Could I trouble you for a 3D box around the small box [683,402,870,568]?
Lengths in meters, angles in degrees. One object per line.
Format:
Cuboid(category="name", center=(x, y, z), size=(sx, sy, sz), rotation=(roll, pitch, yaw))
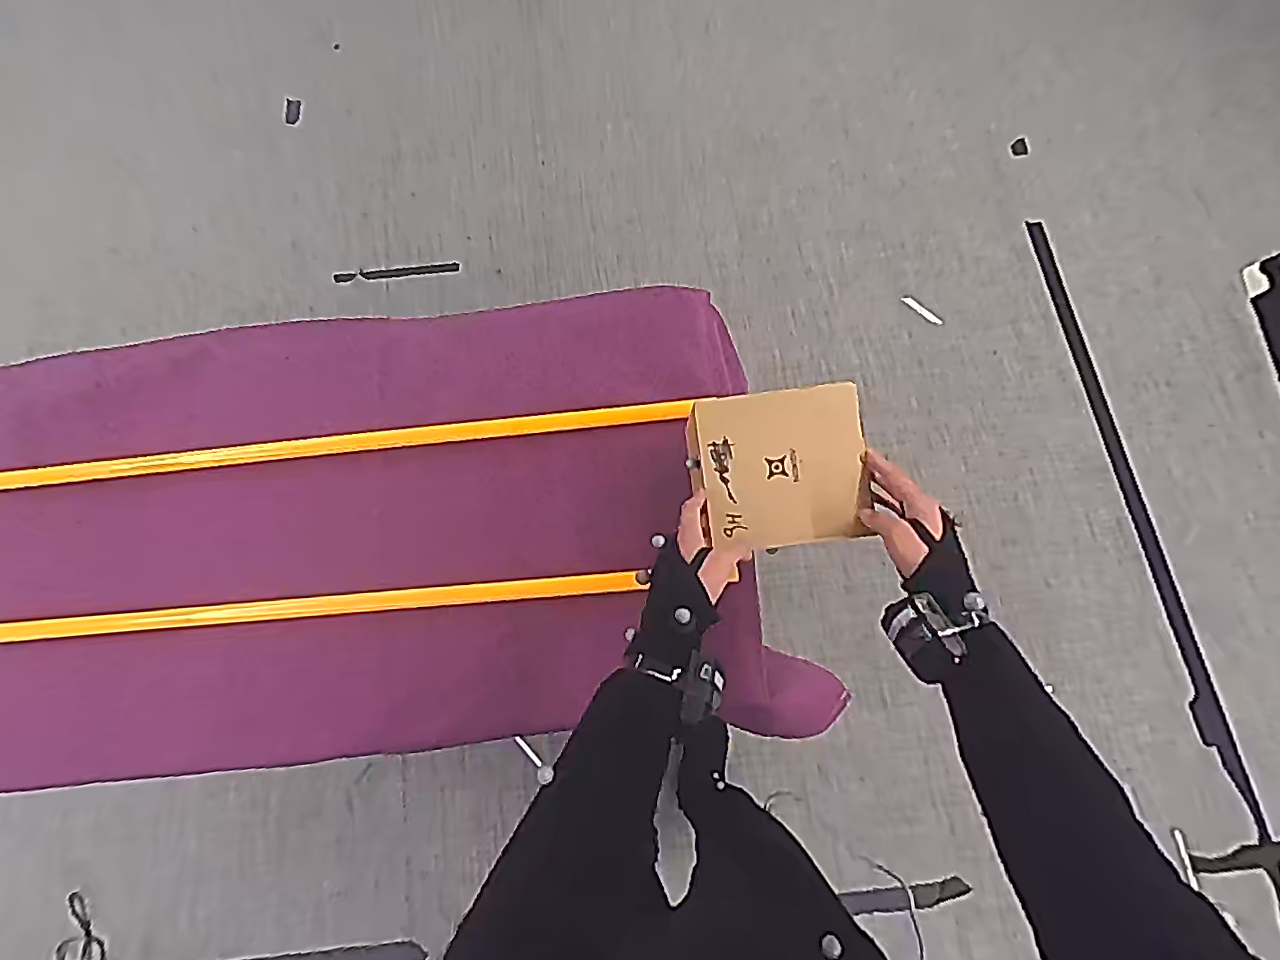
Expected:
Cuboid(category="small box", center=(0.151, 0.009, 0.656), size=(0.179, 0.176, 0.168), rotation=(-7, 86, 1))
